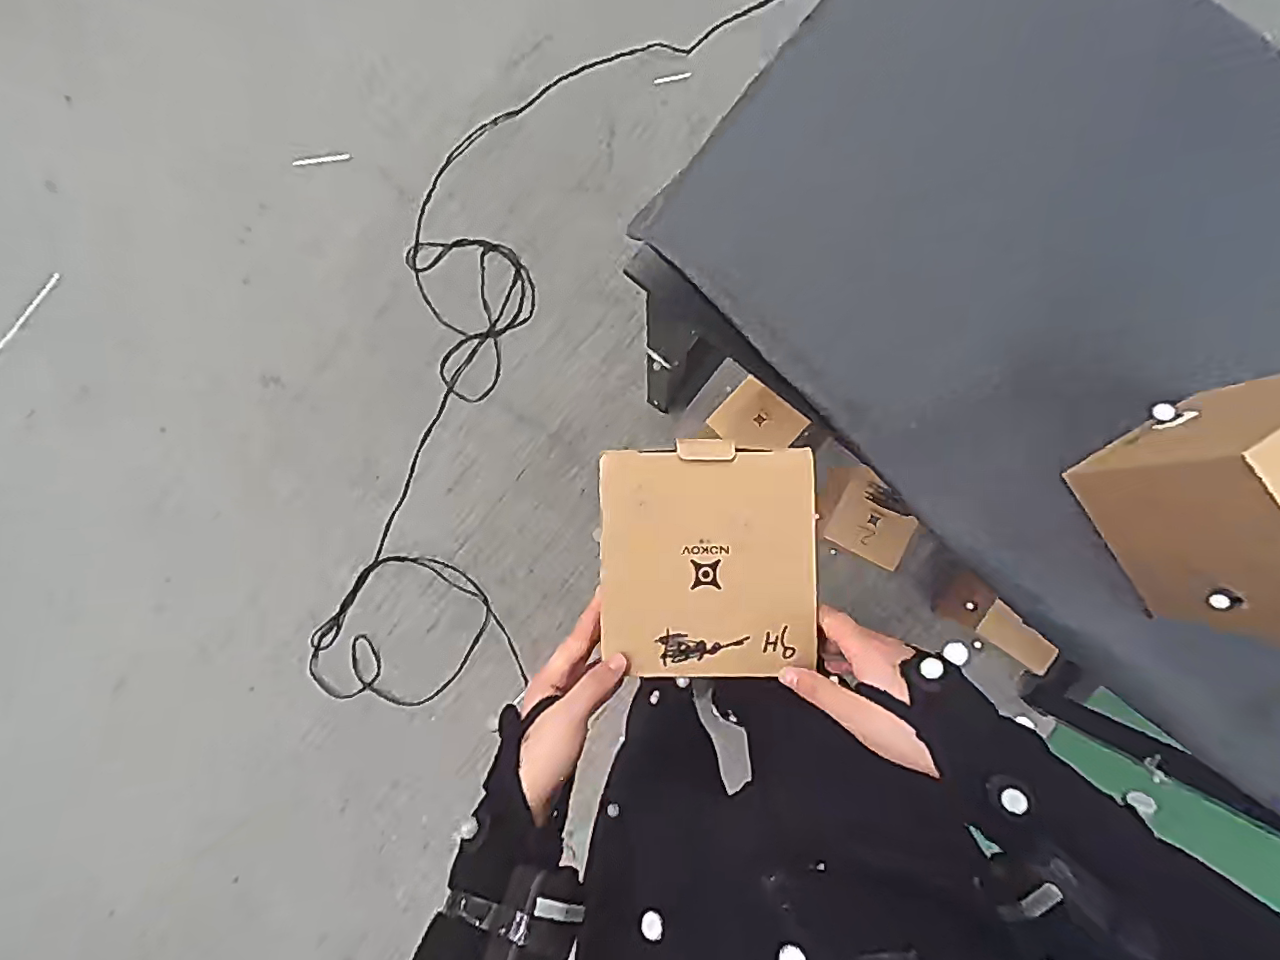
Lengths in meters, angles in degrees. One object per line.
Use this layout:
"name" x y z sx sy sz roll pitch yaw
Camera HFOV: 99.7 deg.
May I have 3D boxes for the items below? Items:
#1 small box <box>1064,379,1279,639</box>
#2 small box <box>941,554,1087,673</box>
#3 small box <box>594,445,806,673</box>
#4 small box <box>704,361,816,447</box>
"small box" 0.539 0.020 0.469 0.168 0.176 0.179 -31 86 -4
"small box" 0.799 0.280 1.181 0.168 0.176 0.179 34 89 2
"small box" 0.047 0.063 0.497 0.168 0.176 0.179 -1 90 2
"small box" 0.257 -0.131 1.212 0.168 0.176 0.179 43 88 3
